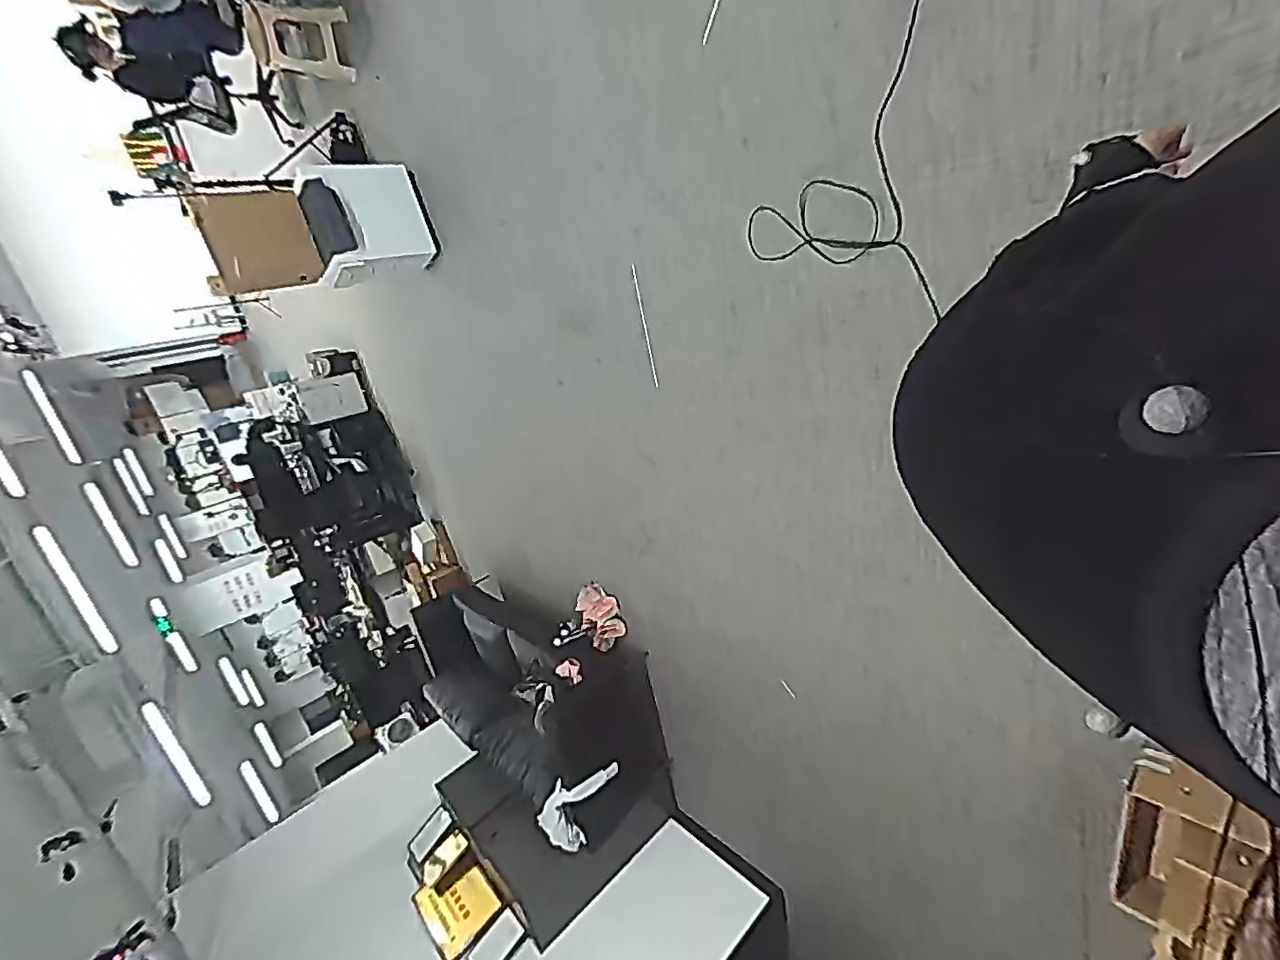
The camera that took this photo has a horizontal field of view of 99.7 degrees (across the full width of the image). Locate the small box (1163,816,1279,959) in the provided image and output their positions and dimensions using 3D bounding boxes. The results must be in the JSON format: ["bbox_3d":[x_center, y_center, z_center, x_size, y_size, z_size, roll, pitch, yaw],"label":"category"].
[{"bbox_3d":[1.327,0.916,1.229,0.179,0.176,0.168,8,115,47],"label":"small box"}]
